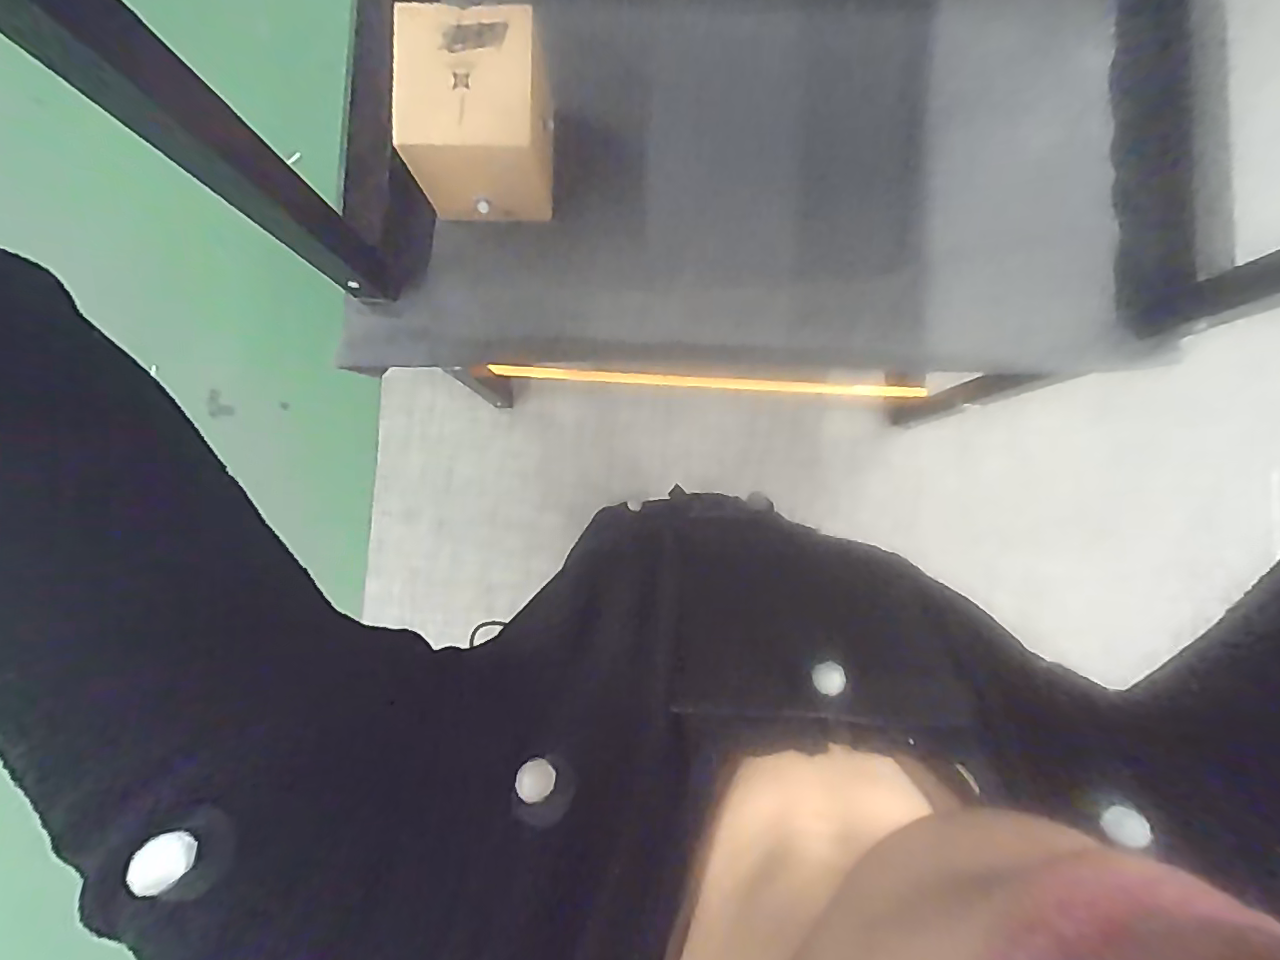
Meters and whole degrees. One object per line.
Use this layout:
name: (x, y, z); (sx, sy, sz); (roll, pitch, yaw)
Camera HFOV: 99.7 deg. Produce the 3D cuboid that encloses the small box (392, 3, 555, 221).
small box: (-0.208, -0.474, 0.717); (0.168, 0.176, 0.179); (0, 87, 0)
